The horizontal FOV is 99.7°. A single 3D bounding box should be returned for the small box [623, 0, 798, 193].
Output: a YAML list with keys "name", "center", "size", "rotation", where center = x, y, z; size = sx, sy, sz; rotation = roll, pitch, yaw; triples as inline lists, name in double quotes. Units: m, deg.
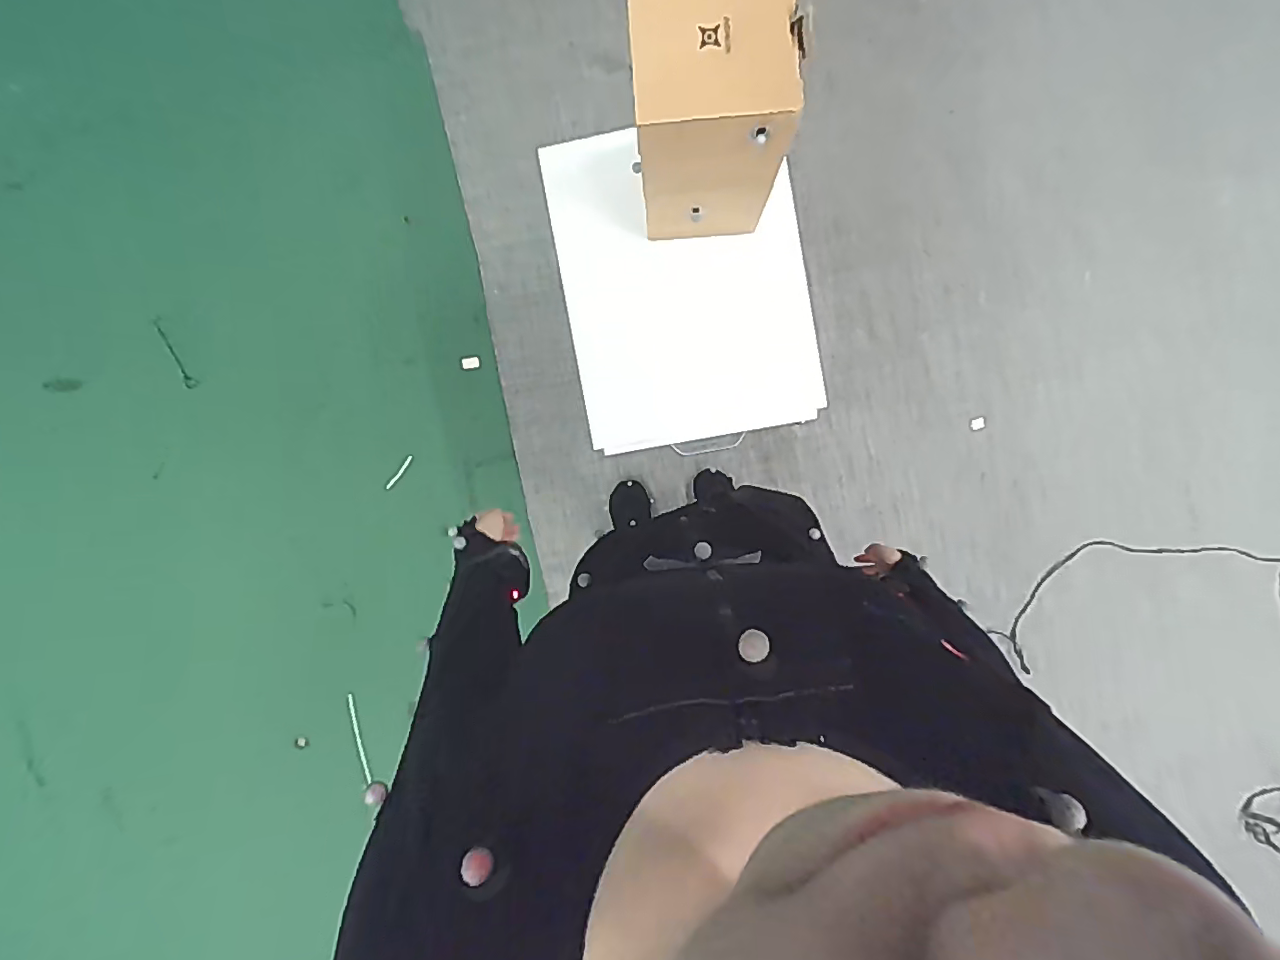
- name: "small box"
  center: [0.076, -0.460, 0.635]
  size: [0.179, 0.176, 0.168]
  rotation: [-4, 93, 2]

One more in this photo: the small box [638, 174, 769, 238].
- name: "small box"
  center: [0.088, -0.474, 0.798]
  size: [0.179, 0.176, 0.168]
  rotation: [-3, 94, 4]
